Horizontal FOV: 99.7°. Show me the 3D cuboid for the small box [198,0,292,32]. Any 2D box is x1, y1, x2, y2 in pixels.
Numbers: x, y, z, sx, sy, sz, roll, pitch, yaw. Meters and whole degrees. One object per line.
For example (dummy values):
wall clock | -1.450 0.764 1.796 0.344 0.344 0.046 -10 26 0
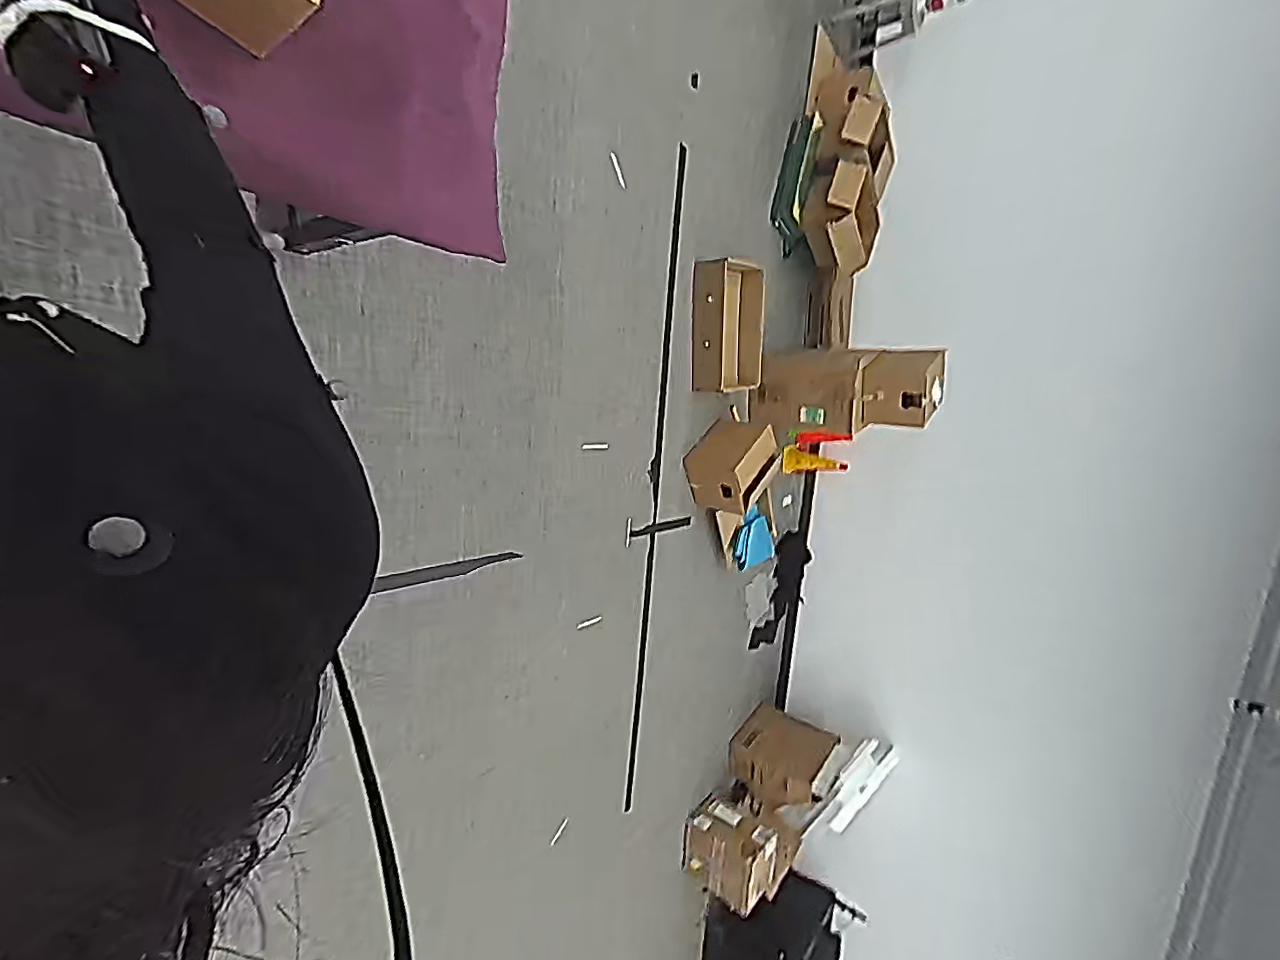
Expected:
small box | -0.411 -0.588 0.515 0.179 0.176 0.168 18 84 -54
